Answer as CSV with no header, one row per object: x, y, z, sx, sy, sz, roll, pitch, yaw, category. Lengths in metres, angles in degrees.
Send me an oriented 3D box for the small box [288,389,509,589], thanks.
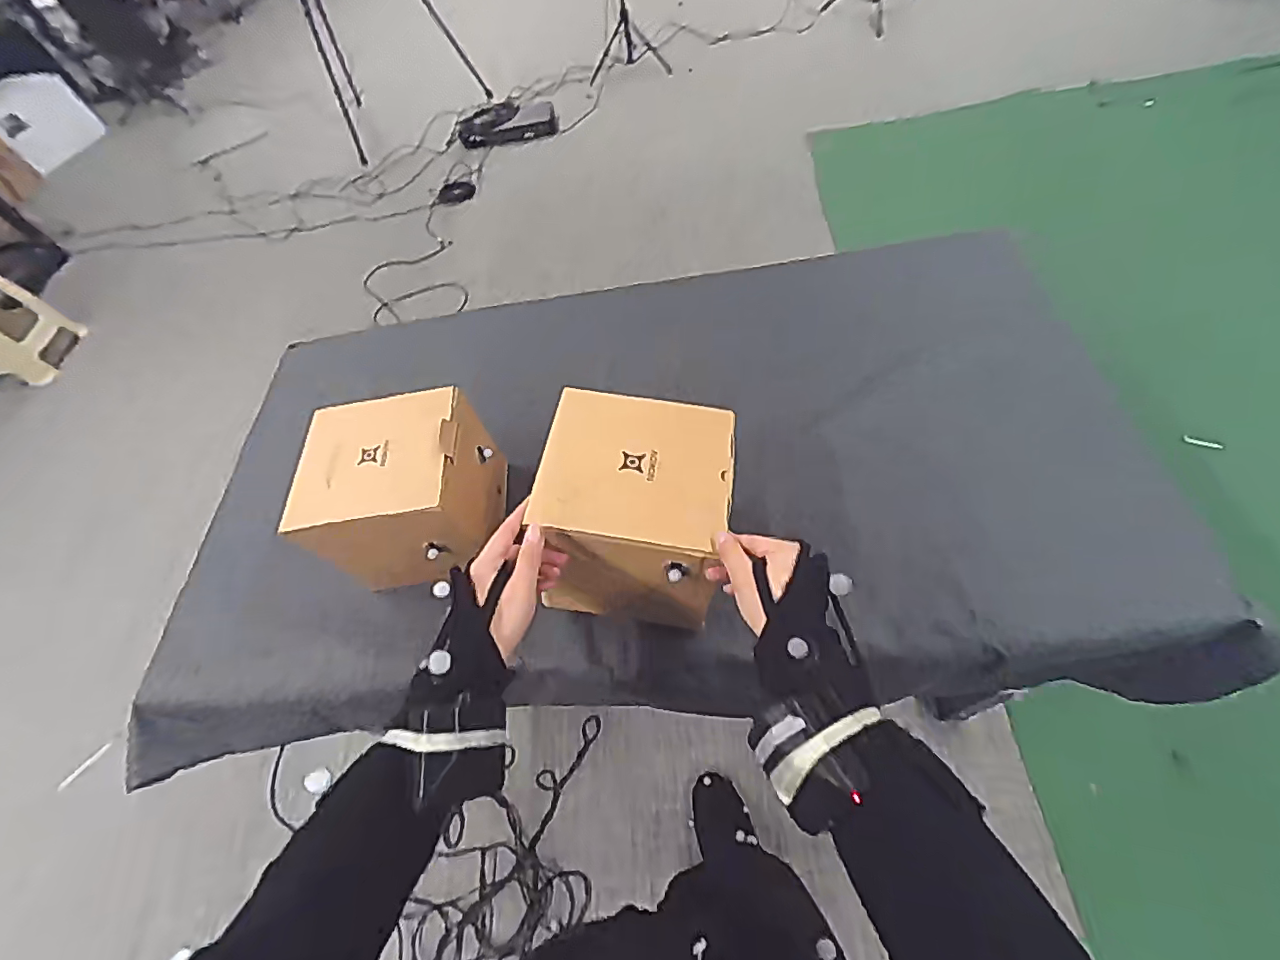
-0.270,0.018,0.656,0.179,0.176,0.168,-10,56,6,small box

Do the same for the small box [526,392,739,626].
-0.003,0.035,0.557,0.179,0.176,0.168,9,54,2,small box
